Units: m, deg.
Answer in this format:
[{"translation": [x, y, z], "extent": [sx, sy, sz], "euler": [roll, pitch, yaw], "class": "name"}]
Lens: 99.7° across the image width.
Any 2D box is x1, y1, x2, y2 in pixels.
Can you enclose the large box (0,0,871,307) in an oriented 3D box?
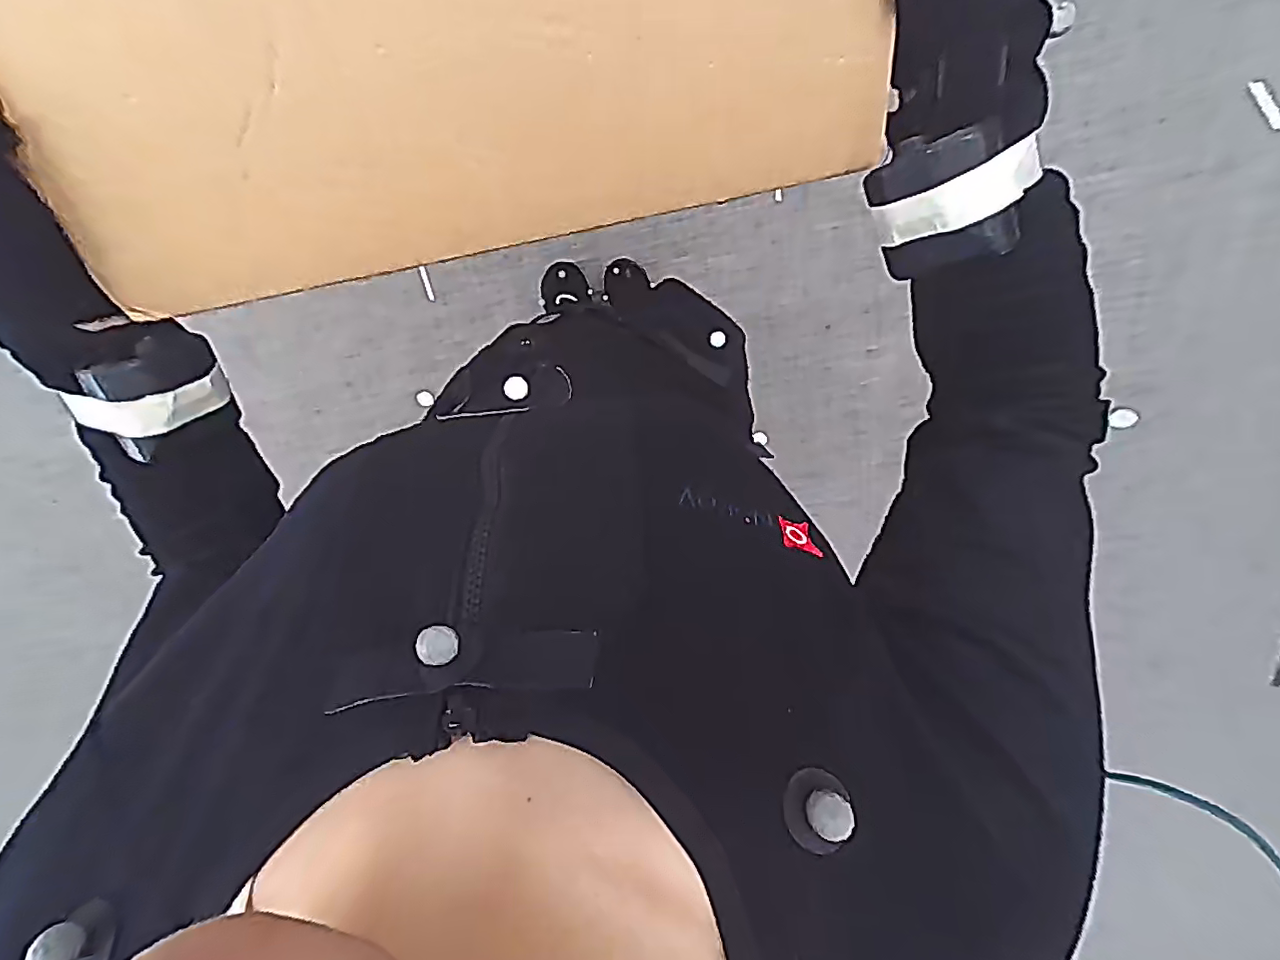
[{"translation": [-0.118, -0.343, 0.303], "extent": [0.408, 0.320, 0.320], "euler": [-11, 130, 2], "class": "large box"}]
